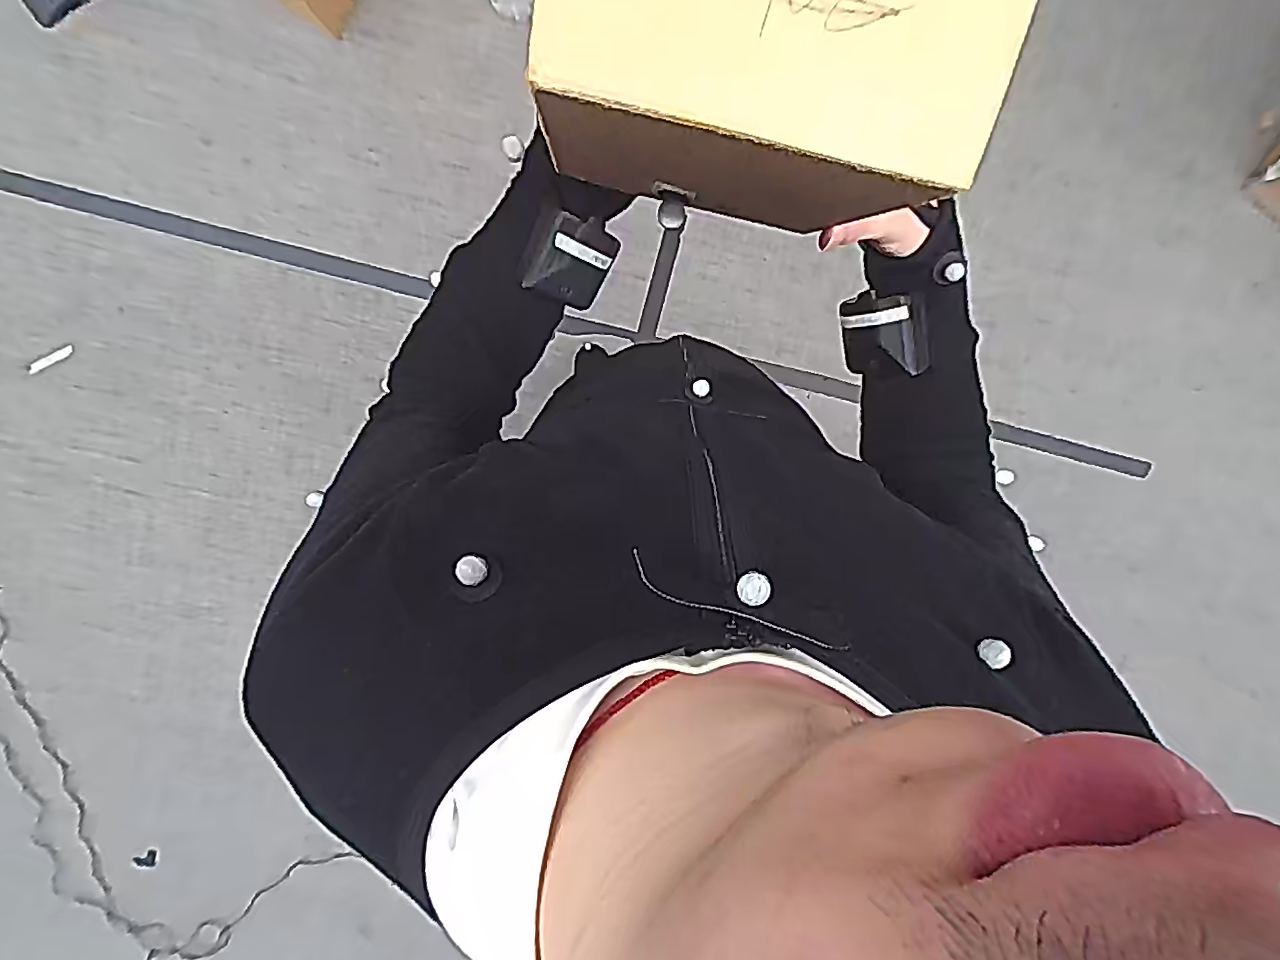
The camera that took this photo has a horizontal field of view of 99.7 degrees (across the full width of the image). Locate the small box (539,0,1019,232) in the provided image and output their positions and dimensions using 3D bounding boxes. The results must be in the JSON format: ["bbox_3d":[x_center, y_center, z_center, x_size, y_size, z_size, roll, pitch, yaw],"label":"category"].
[{"bbox_3d":[0.053,-0.232,0.250,0.168,0.176,0.179,10,108,-8],"label":"small box"}]
